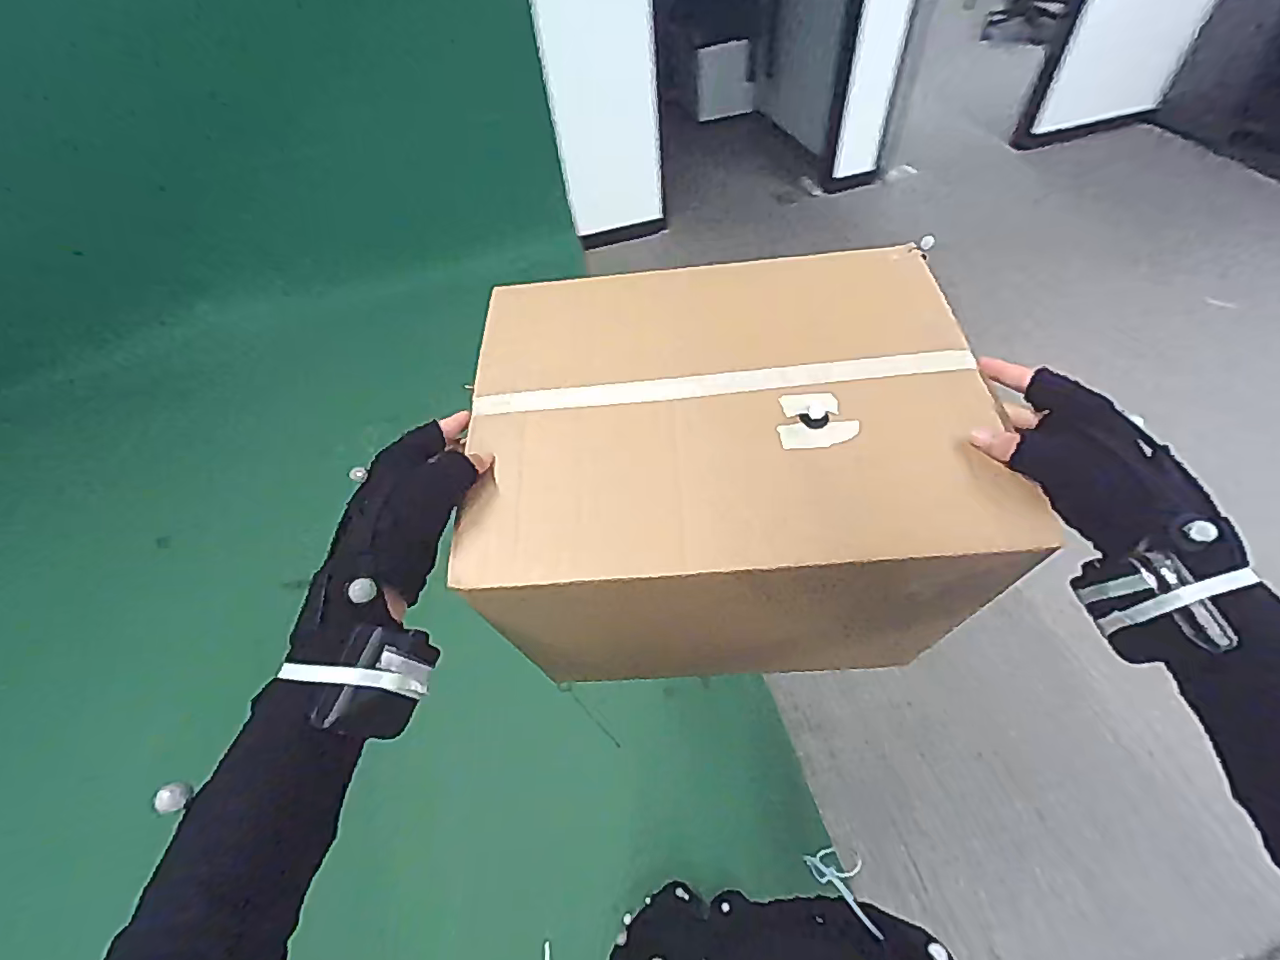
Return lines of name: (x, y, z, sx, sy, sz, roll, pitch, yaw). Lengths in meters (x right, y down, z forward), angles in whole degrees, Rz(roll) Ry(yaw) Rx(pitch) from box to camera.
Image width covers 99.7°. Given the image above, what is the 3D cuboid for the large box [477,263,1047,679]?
large box: (0.084, 0.011, 0.577, 0.408, 0.320, 0.320, -4, 58, 3)
